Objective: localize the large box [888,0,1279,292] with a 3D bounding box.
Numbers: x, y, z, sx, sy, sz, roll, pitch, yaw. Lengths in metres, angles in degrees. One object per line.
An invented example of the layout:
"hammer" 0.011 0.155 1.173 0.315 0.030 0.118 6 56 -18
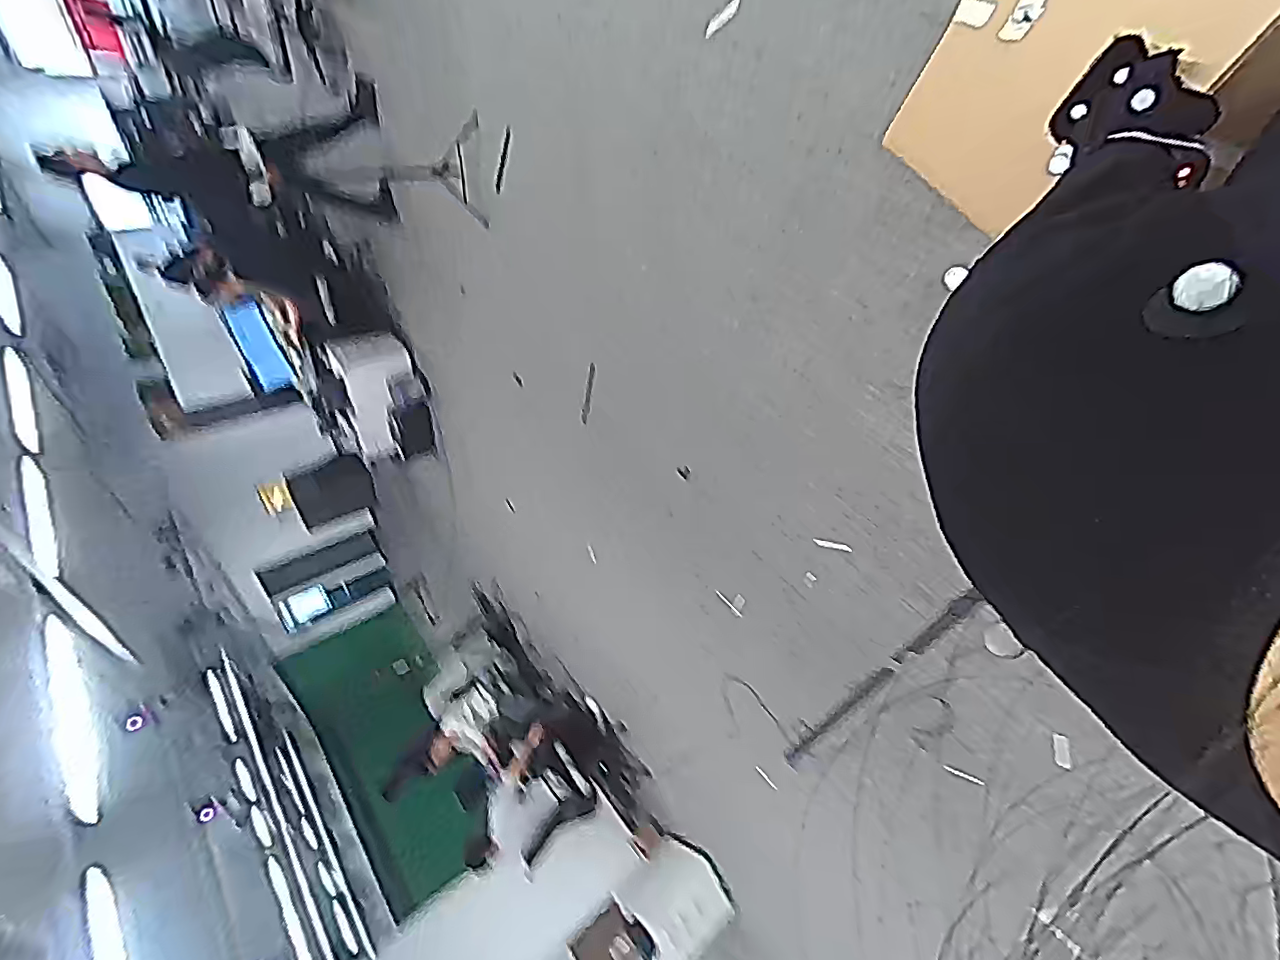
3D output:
"large box" 0.626 -0.466 0.694 0.320 0.408 0.320 64 149 28
